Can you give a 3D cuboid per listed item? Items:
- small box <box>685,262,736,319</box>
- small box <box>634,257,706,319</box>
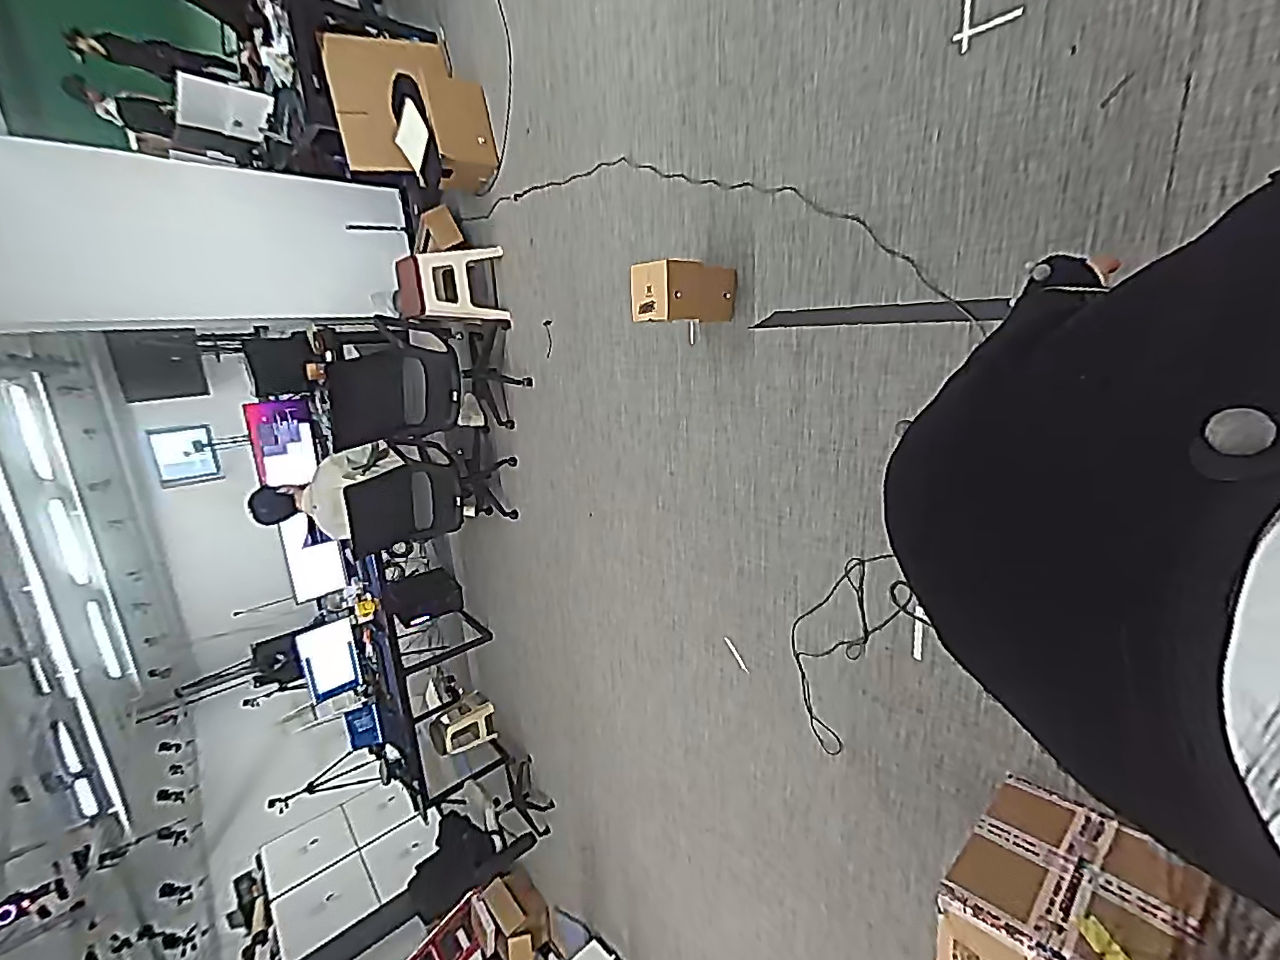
[{"bbox_3d":[0.212,-0.647,1.849,0.168,0.176,0.179,23,118,44],"label":"small box"},{"bbox_3d":[0.098,-0.614,1.733,0.168,0.176,0.179,16,114,47],"label":"small box"}]
